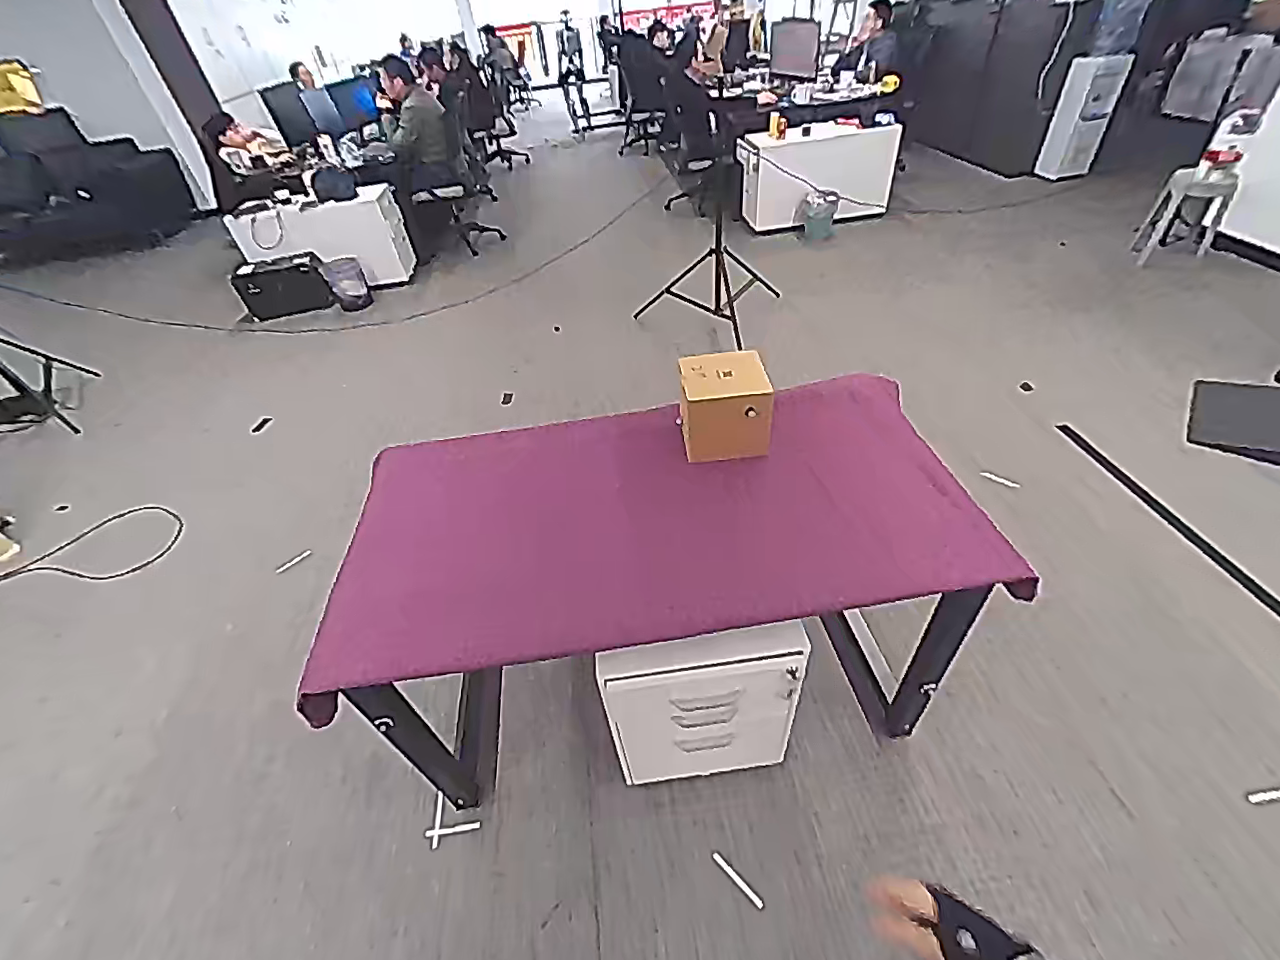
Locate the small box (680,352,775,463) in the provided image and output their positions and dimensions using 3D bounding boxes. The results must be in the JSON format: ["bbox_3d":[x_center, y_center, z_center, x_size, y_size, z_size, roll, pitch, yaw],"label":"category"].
[{"bbox_3d":[0.183,-0.155,1.175,0.179,0.176,0.168,-6,43,1],"label":"small box"}]
